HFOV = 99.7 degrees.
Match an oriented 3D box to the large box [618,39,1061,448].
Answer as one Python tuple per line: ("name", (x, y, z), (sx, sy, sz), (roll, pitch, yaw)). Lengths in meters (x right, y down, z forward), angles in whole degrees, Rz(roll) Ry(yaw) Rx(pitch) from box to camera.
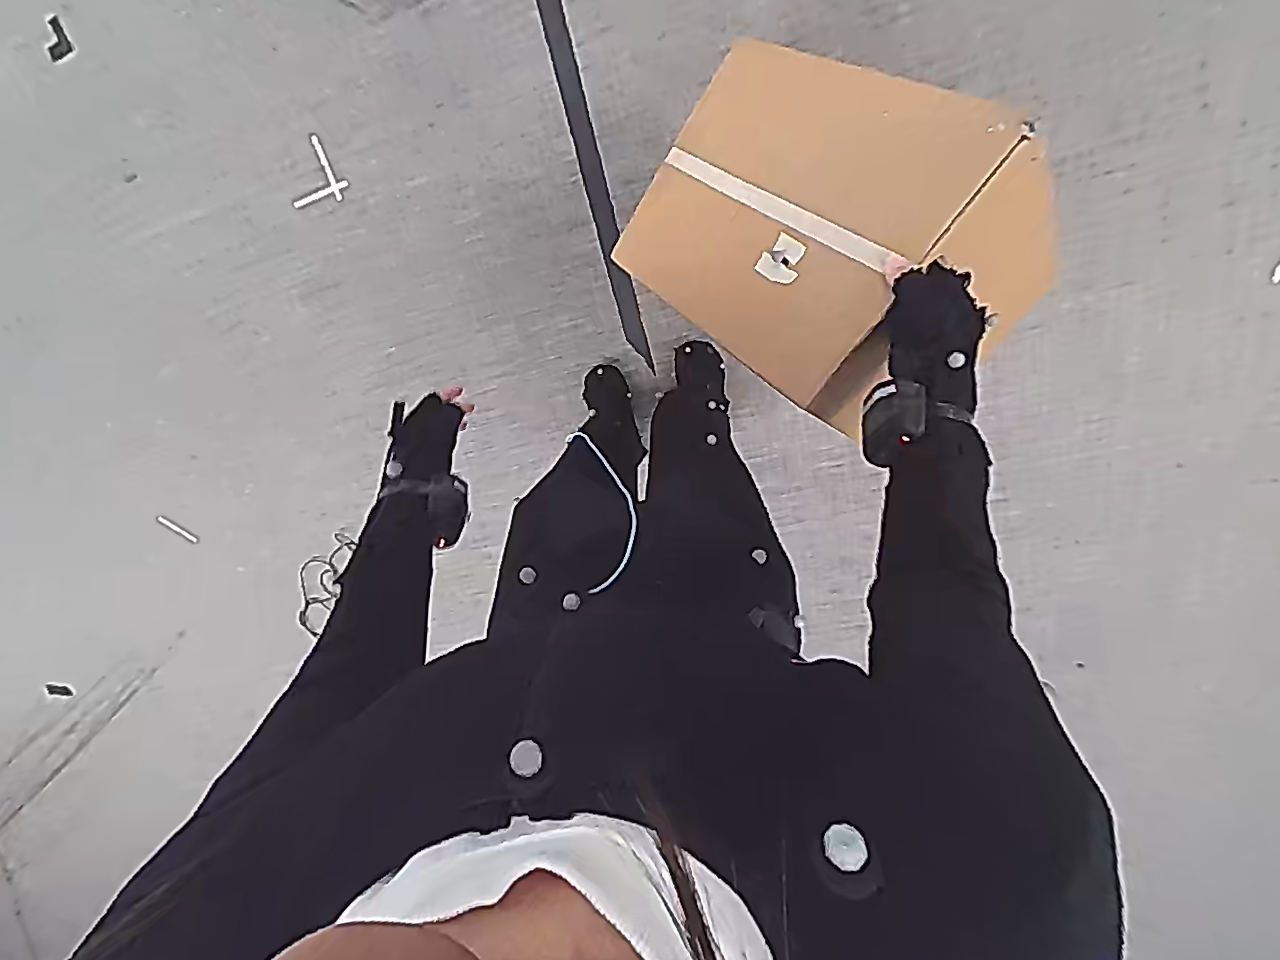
("large box", (0.251, -0.298, 0.728), (0.408, 0.320, 0.320), (49, 115, 34))
